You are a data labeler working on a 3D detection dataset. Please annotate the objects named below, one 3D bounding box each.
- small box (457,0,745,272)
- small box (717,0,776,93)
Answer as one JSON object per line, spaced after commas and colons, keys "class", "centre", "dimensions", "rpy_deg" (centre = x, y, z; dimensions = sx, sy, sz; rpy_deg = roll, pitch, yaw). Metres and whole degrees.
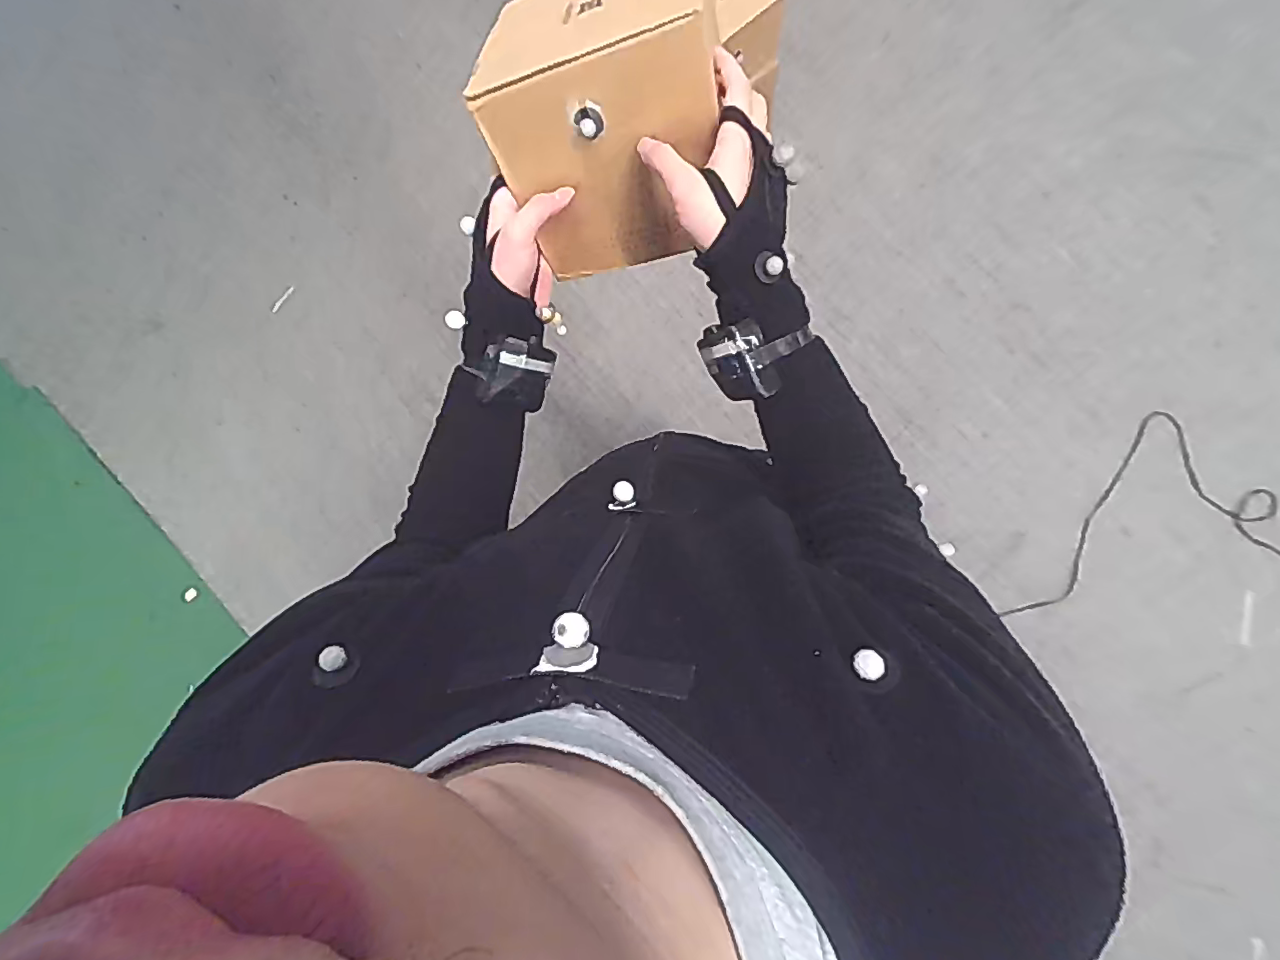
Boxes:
{"class": "small box", "centre": [-0.015, -0.300, 0.448], "dimensions": [0.179, 0.176, 0.168], "rpy_deg": [-7, 57, 15]}
{"class": "small box", "centre": [0.145, -0.883, 1.069], "dimensions": [0.179, 0.176, 0.168], "rpy_deg": [-35, 88, 7]}
